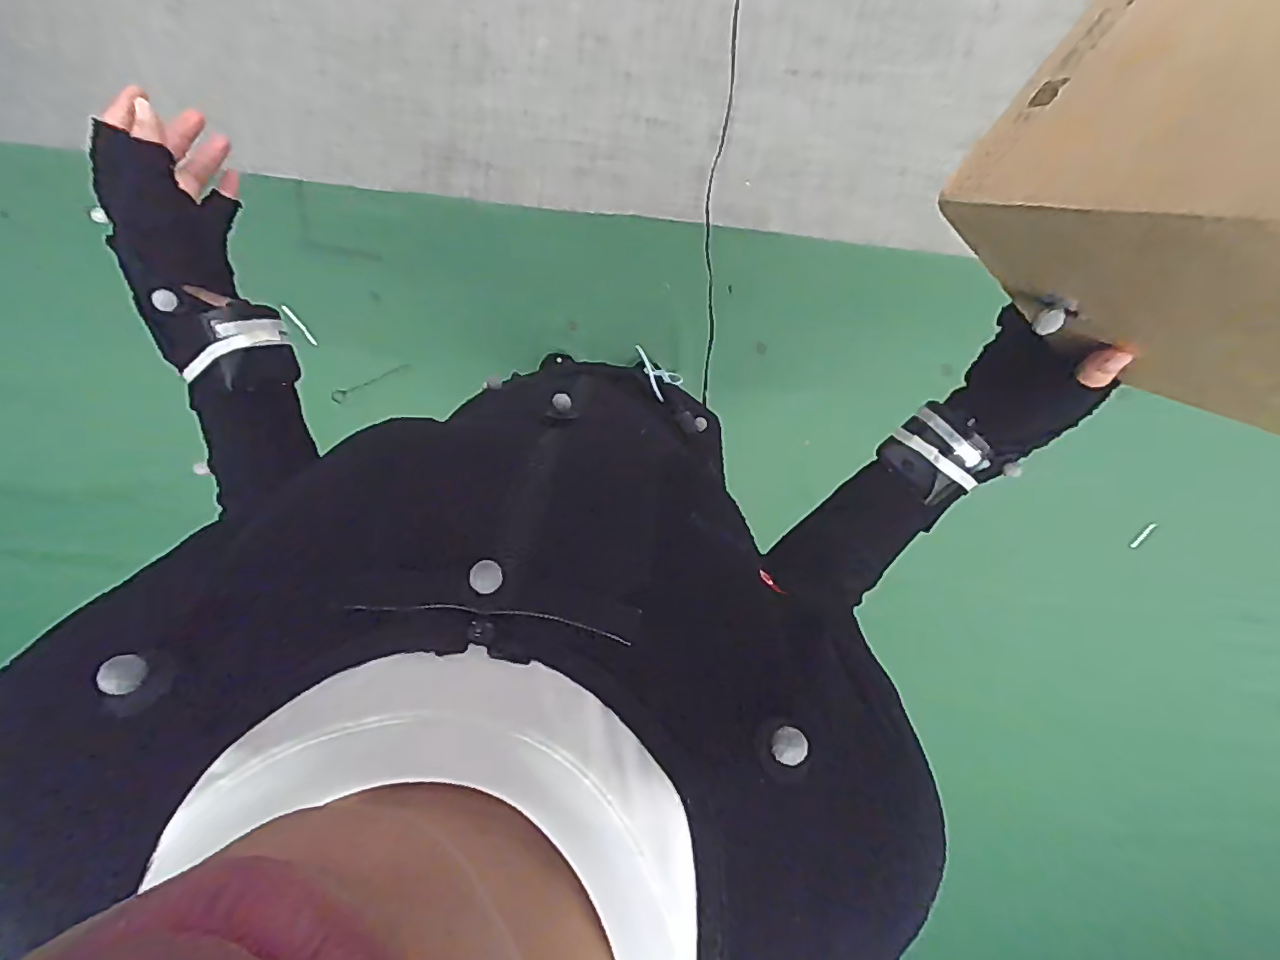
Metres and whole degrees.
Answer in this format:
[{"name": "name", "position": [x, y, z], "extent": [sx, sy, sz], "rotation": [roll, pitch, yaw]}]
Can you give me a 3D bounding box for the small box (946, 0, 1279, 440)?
[{"name": "small box", "position": [0.296, -0.141, 0.251], "extent": [0.179, 0.176, 0.168], "rotation": [29, 108, -28]}]
